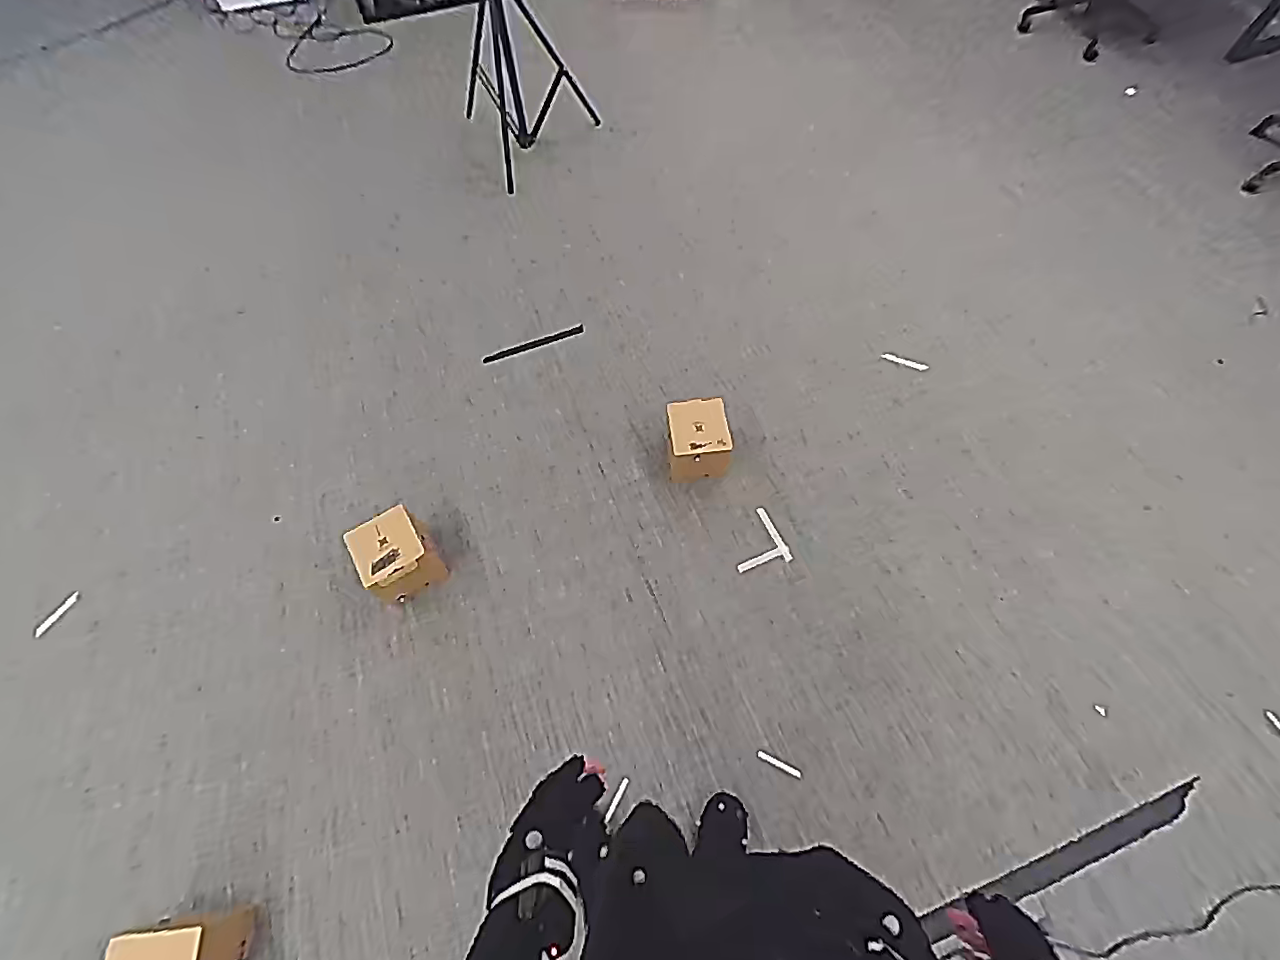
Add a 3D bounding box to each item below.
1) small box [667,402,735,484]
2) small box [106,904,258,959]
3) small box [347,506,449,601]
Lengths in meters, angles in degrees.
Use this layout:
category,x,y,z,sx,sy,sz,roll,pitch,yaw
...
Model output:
category,x,y,z,sx,sy,sz,roll,pitch,yaw
small box,0.173,-0.106,1.596,0.168,0.176,0.179,-6,62,-2
small box,-0.907,0.963,1.062,0.179,0.176,0.168,-5,64,-3
small box,-0.642,0.206,1.452,0.168,0.176,0.179,-30,65,-13
